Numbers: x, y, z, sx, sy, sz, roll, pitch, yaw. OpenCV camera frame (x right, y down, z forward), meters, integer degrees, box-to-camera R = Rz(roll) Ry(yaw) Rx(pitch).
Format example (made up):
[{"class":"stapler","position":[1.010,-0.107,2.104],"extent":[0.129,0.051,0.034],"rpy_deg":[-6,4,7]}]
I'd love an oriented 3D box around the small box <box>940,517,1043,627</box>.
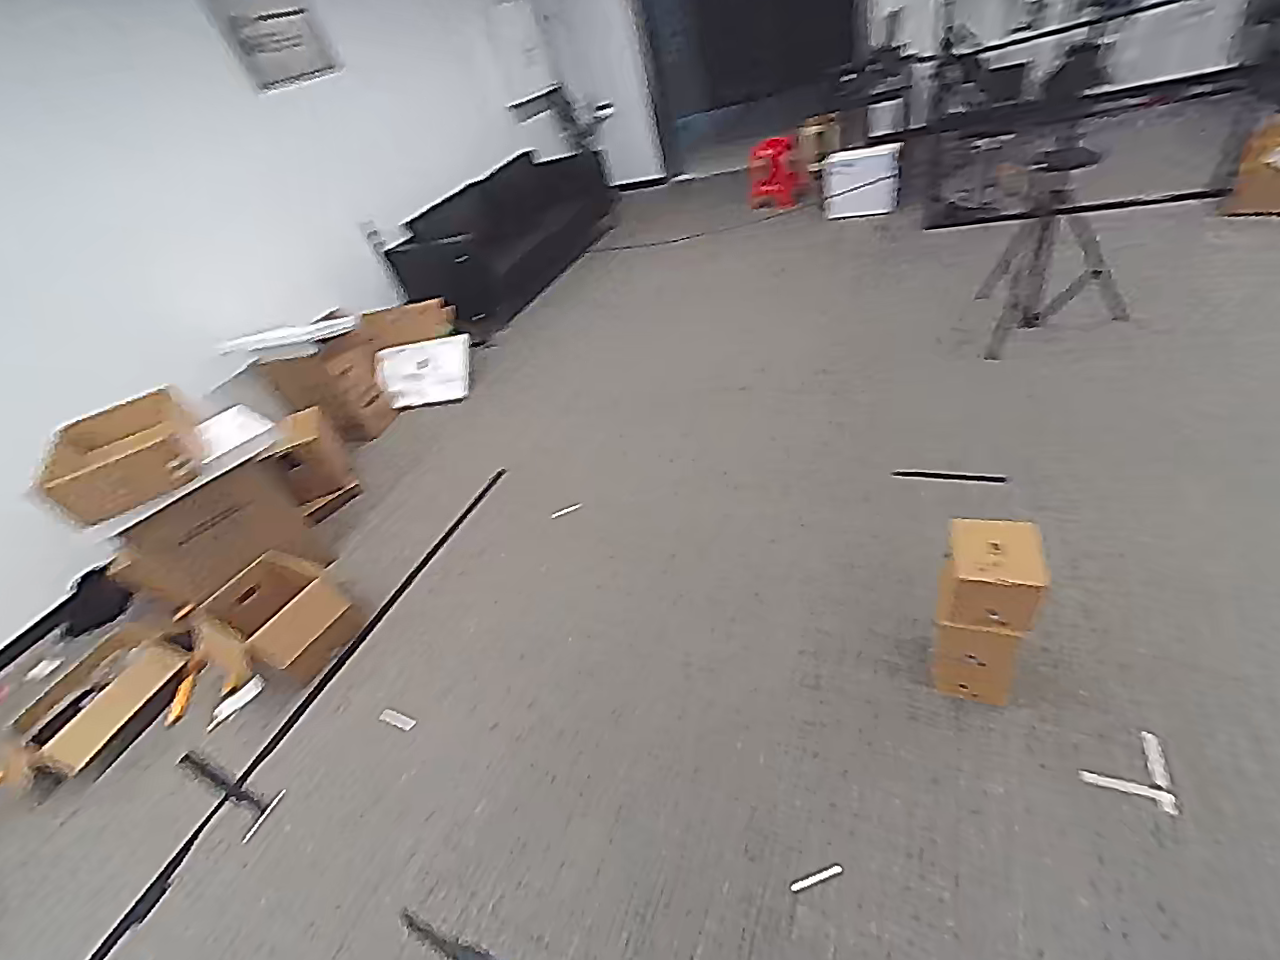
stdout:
[{"class":"small box","position":[0.784,0.205,1.225],"extent":[0.168,0.176,0.179],"rpy_deg":[1,44,24]}]

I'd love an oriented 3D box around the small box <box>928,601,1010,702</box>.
[{"class":"small box","position":[0.862,0.452,1.430],"extent":[0.168,0.176,0.179],"rpy_deg":[4,45,26]}]
